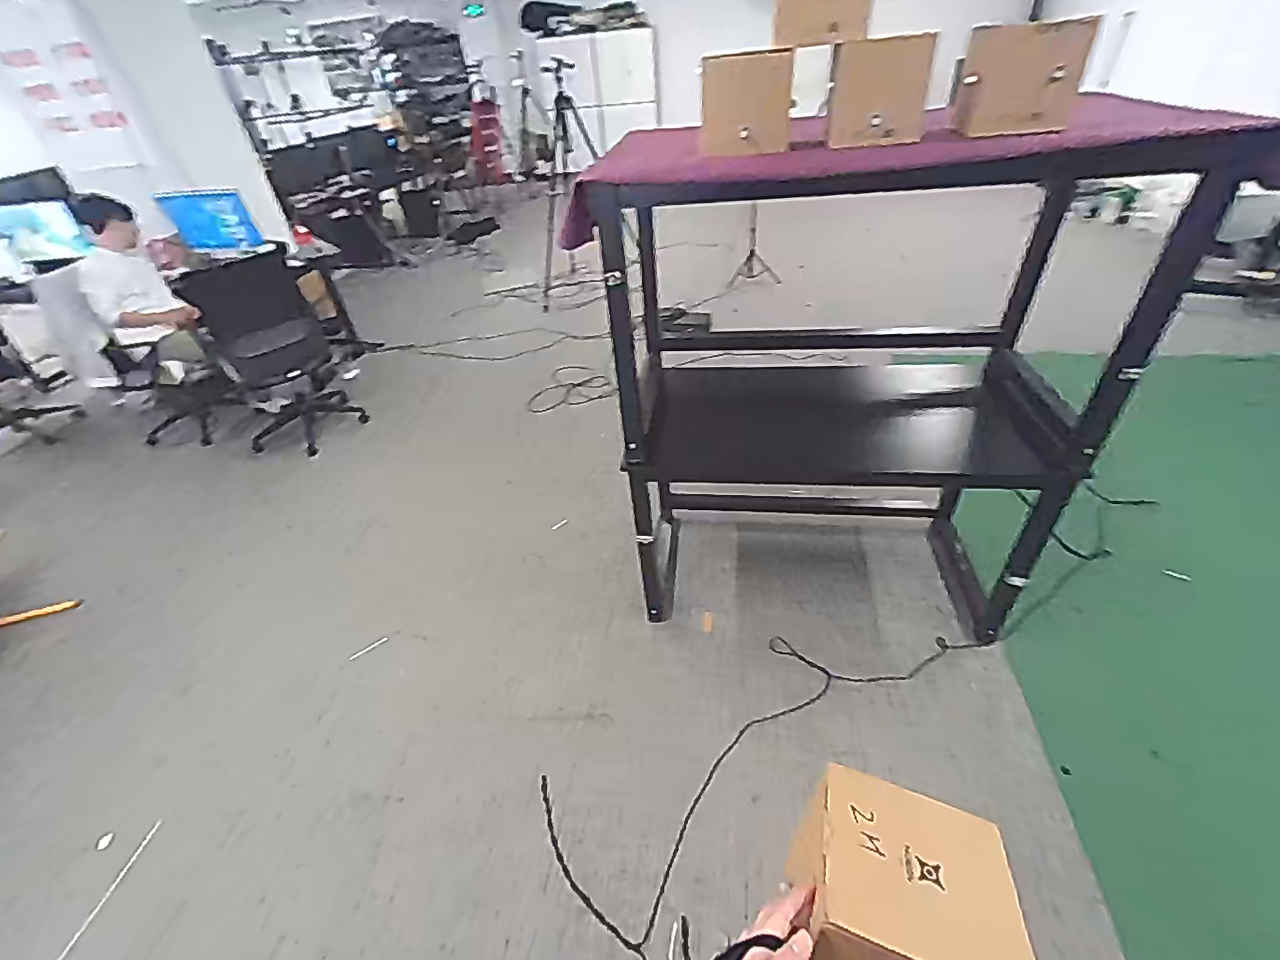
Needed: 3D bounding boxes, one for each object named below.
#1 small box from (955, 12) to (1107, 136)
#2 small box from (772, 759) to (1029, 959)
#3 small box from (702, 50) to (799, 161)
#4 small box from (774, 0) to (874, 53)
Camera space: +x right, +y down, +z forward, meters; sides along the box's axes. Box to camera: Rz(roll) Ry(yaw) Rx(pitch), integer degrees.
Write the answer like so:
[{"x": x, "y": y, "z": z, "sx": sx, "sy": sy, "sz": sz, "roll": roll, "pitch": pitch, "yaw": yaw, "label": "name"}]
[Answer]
[{"x": 0.718, "y": -0.757, "z": 1.018, "sx": 0.168, "sy": 0.176, "sz": 0.179, "roll": 4, "pitch": 38, "yaw": 13, "label": "small box"}, {"x": 0.244, "y": 0.429, "z": 0.538, "sx": 0.179, "sy": 0.176, "sz": 0.168, "roll": 15, "pitch": 26, "yaw": 14, "label": "small box"}, {"x": 0.221, "y": -0.765, "z": 1.105, "sx": 0.179, "sy": 0.176, "sz": 0.168, "roll": 2, "pitch": 39, "yaw": 10, "label": "small box"}, {"x": 0.332, "y": -0.888, "z": 0.980, "sx": 0.168, "sy": 0.176, "sz": 0.179, "roll": 2, "pitch": 38, "yaw": 12, "label": "small box"}]
